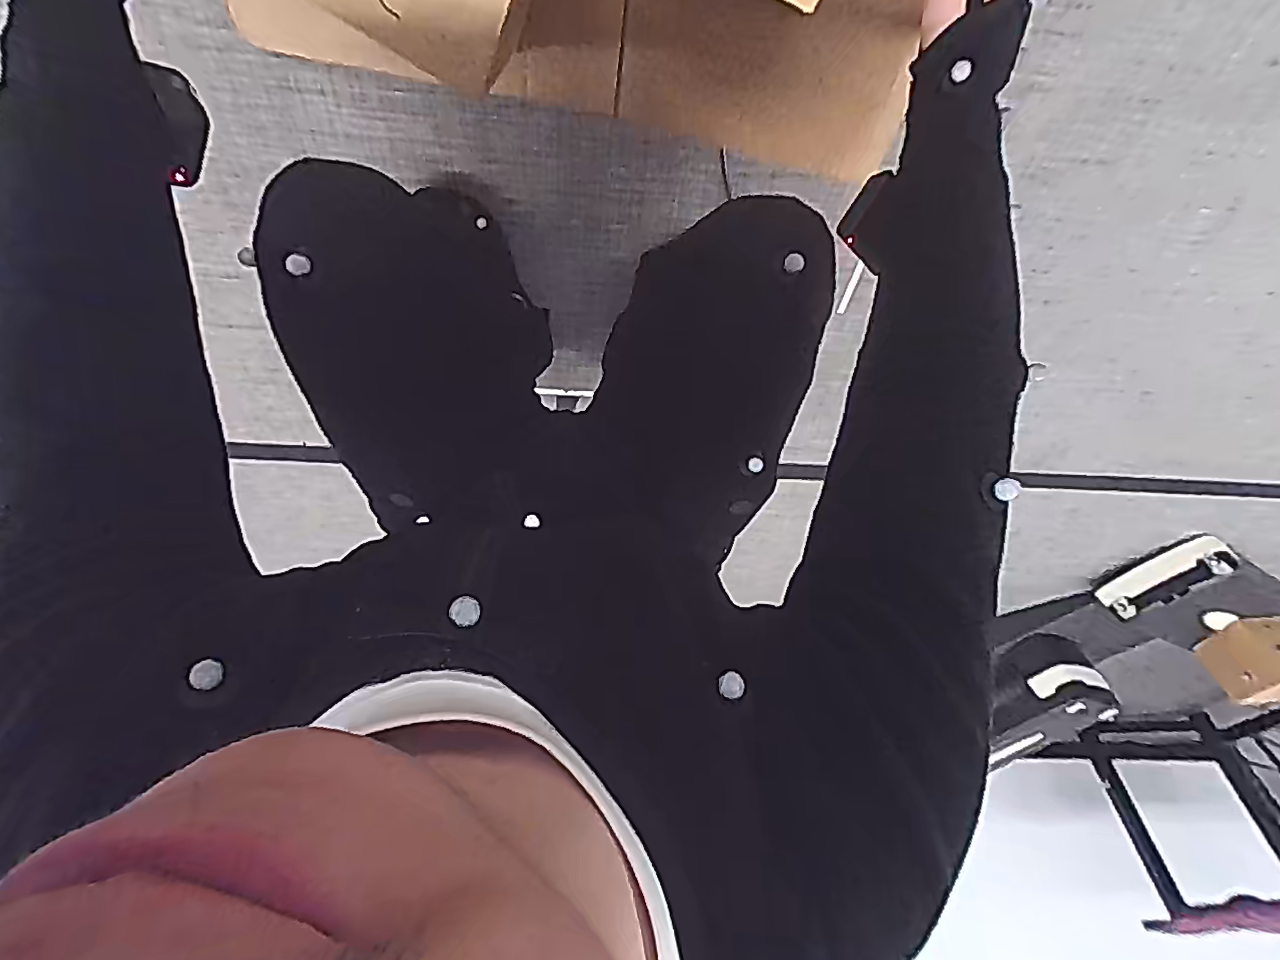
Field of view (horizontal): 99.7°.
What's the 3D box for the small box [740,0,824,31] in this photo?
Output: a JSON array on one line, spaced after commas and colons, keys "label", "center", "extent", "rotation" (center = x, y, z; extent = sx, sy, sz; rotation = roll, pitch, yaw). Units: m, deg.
[{"label": "small box", "center": [0.095, -0.474, 0.389], "extent": [0.179, 0.176, 0.168], "rotation": [25, 140, -3]}]
